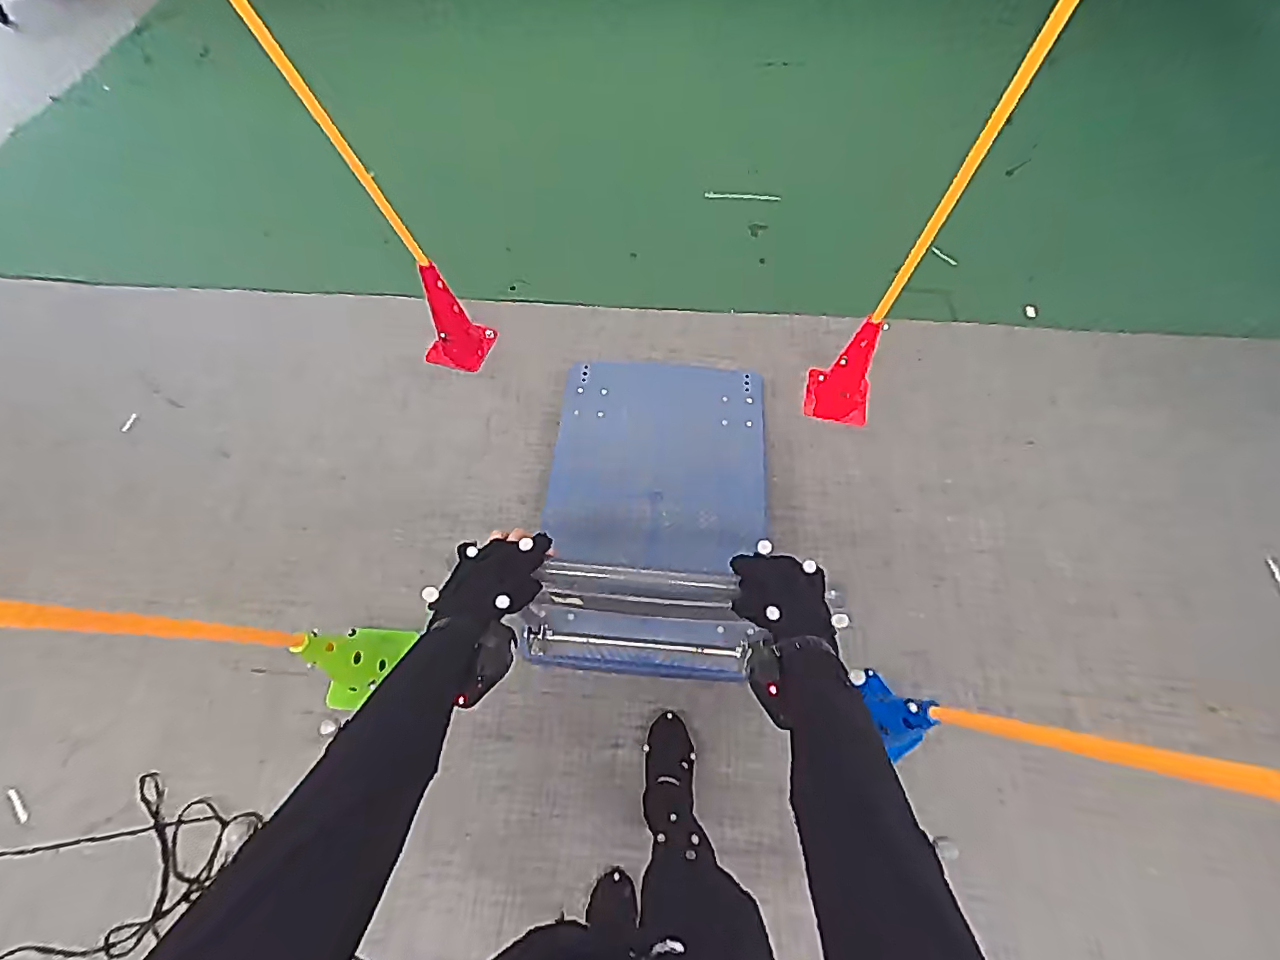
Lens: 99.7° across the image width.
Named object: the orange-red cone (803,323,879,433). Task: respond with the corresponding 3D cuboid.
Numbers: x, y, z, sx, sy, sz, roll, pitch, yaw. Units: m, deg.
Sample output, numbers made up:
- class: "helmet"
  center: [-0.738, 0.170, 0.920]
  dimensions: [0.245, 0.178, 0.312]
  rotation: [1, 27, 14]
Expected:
- class: "orange-red cone"
  center: [0.639, -0.329, 1.625]
  dimensions: [0.198, 0.360, 0.199]
  rotation: [13, 63, 8]
